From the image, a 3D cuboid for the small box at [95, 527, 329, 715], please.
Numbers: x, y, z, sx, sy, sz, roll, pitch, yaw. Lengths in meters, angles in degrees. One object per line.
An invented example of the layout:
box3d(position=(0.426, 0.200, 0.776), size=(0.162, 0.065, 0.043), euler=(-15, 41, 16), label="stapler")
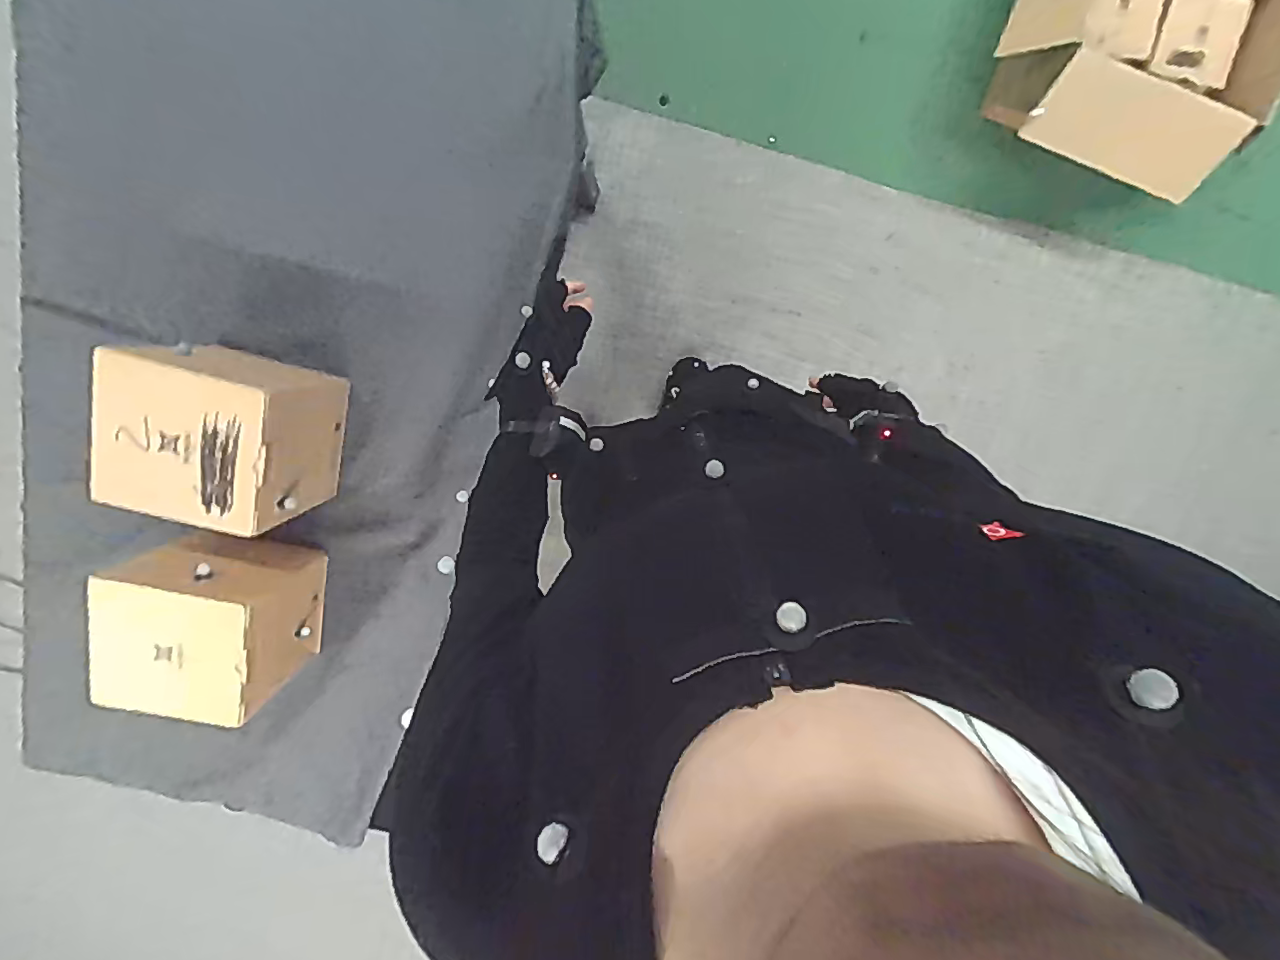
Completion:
box3d(position=(-0.548, 0.172, 0.710), size=(0.179, 0.176, 0.168), euler=(12, 103, -4), label="small box")
